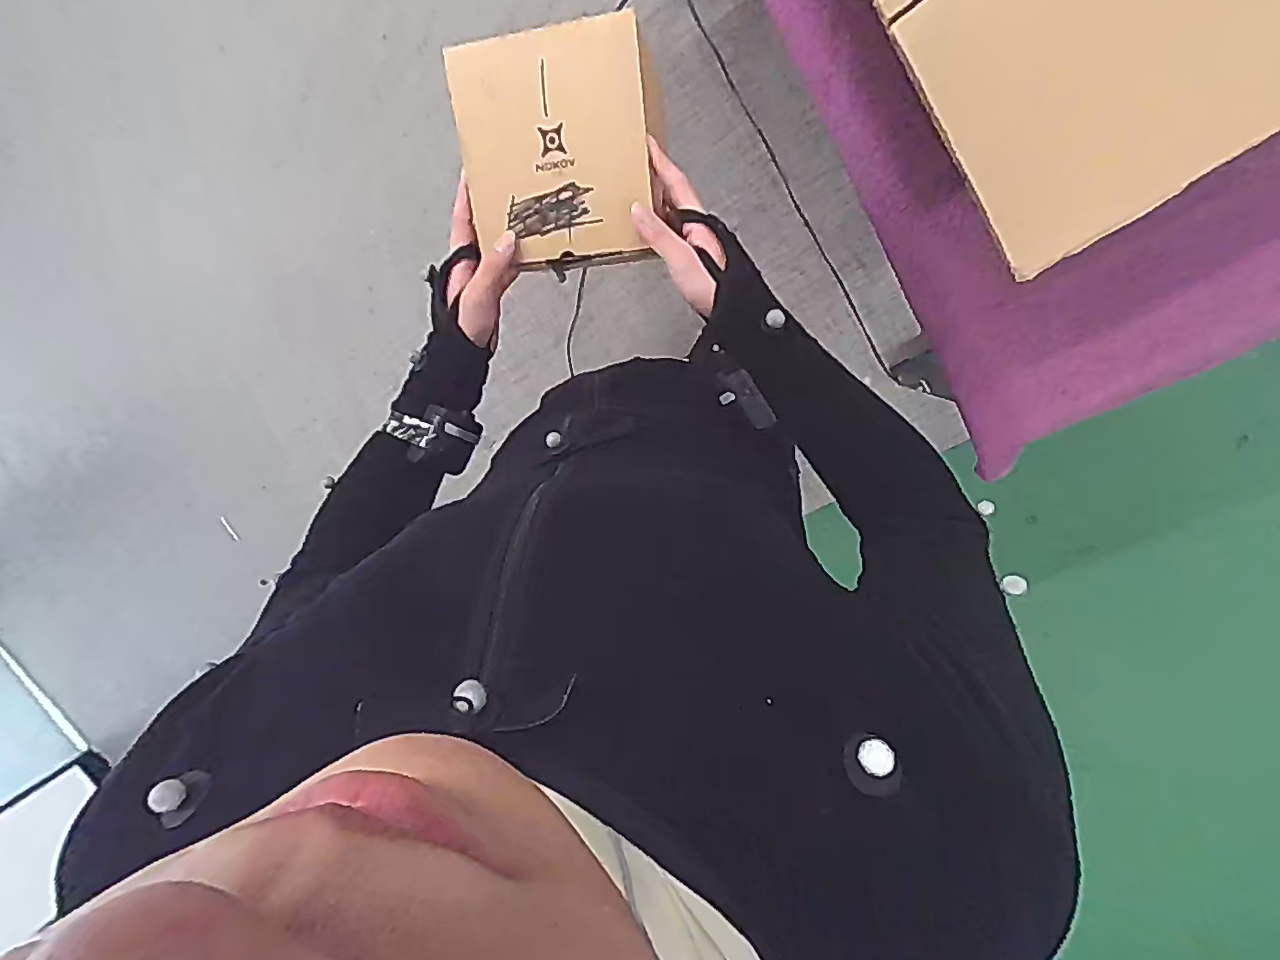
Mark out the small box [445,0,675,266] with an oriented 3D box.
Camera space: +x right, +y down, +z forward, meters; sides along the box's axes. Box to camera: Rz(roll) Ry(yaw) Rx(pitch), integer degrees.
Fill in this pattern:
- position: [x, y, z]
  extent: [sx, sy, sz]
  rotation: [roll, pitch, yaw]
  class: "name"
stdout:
- position: [-0.059, -0.309, 0.526]
  extent: [0.168, 0.176, 0.179]
  rotation: [-2, 109, 10]
  class: "small box"
